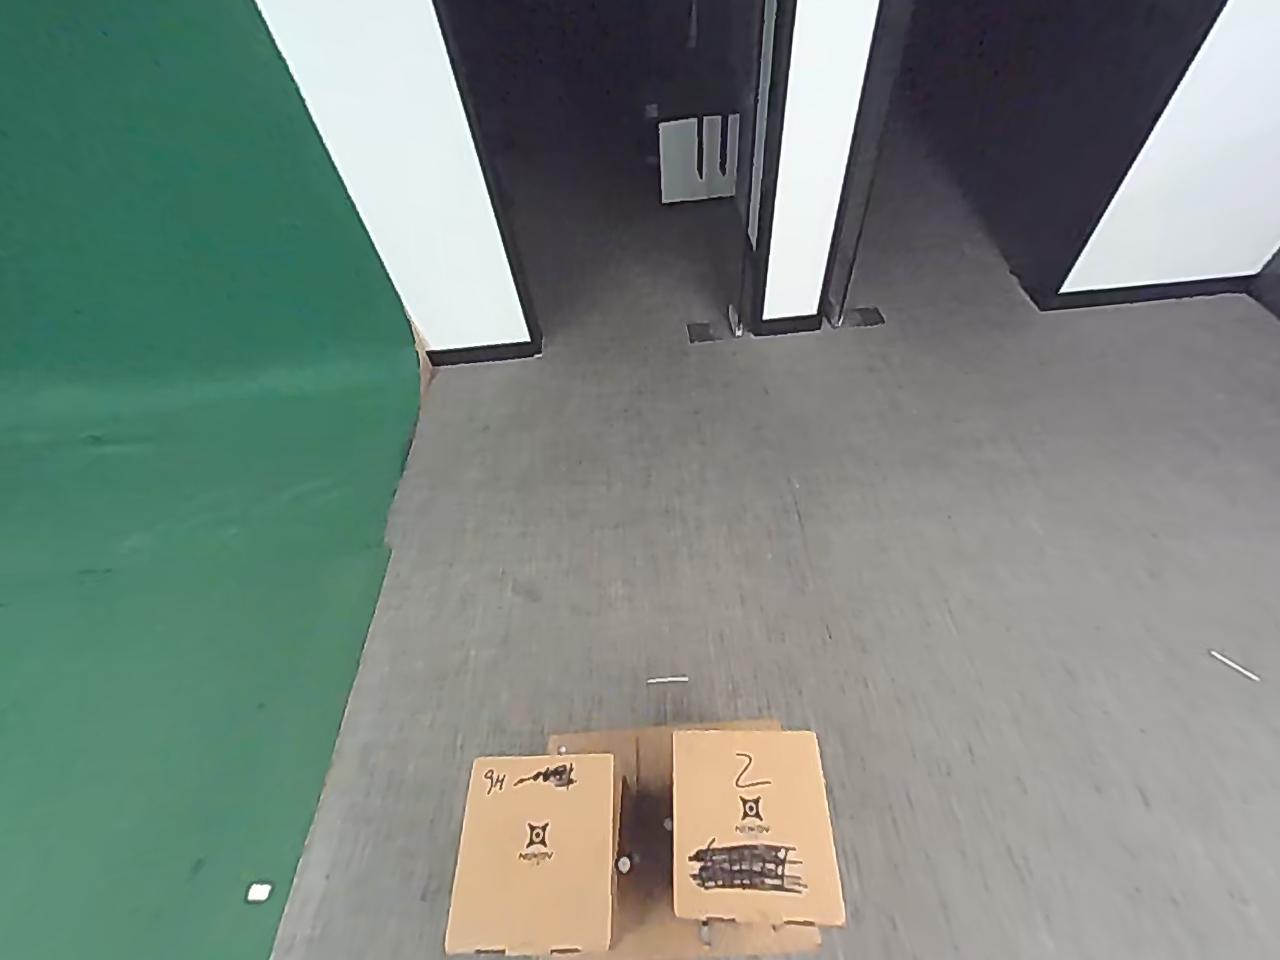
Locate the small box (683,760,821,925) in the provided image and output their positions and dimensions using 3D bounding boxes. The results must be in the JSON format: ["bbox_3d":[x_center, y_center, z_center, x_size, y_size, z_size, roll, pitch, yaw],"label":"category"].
[{"bbox_3d":[0.147,0.508,0.760,0.168,0.176,0.179,-3,51,5],"label":"small box"}]

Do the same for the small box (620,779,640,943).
[{"bbox_3d":[-0.088,0.538,0.765,0.168,0.176,0.179,-4,53,2],"label":"small box"}]

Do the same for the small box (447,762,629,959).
[{"bbox_3d":[-0.101,0.442,0.633,0.168,0.176,0.179,-3,53,3],"label":"small box"}]
